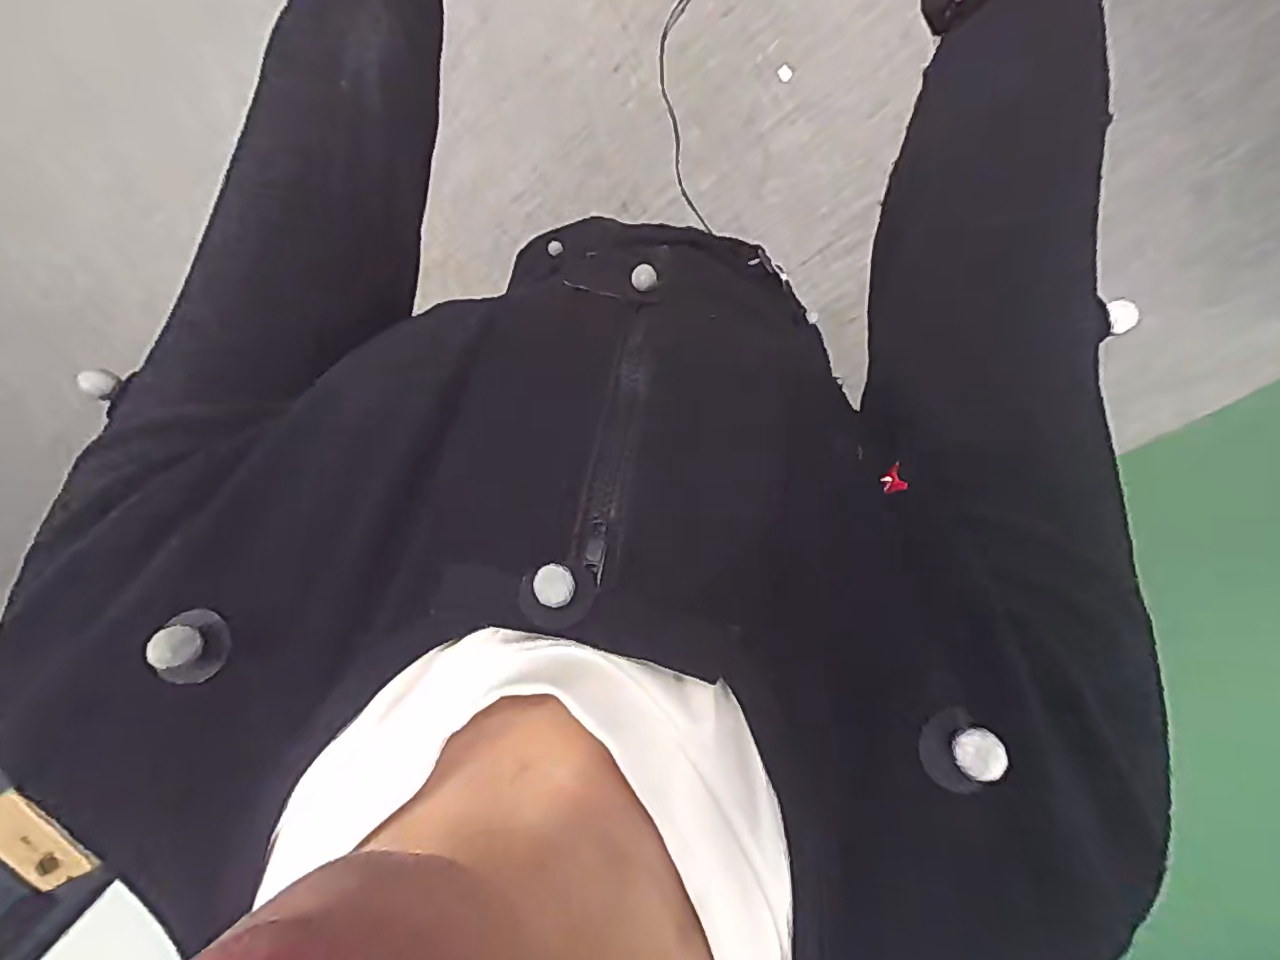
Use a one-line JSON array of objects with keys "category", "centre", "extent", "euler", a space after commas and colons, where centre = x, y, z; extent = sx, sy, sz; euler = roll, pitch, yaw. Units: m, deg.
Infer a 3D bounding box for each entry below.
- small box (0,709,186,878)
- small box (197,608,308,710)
[{"category": "small box", "centre": [-0.972, 0.546, 0.954], "extent": [0.168, 0.176, 0.179], "euler": [-29, 103, 17]}, {"category": "small box", "centre": [-0.918, 0.427, 1.256], "extent": [0.179, 0.176, 0.168], "euler": [-29, 103, 19]}]
